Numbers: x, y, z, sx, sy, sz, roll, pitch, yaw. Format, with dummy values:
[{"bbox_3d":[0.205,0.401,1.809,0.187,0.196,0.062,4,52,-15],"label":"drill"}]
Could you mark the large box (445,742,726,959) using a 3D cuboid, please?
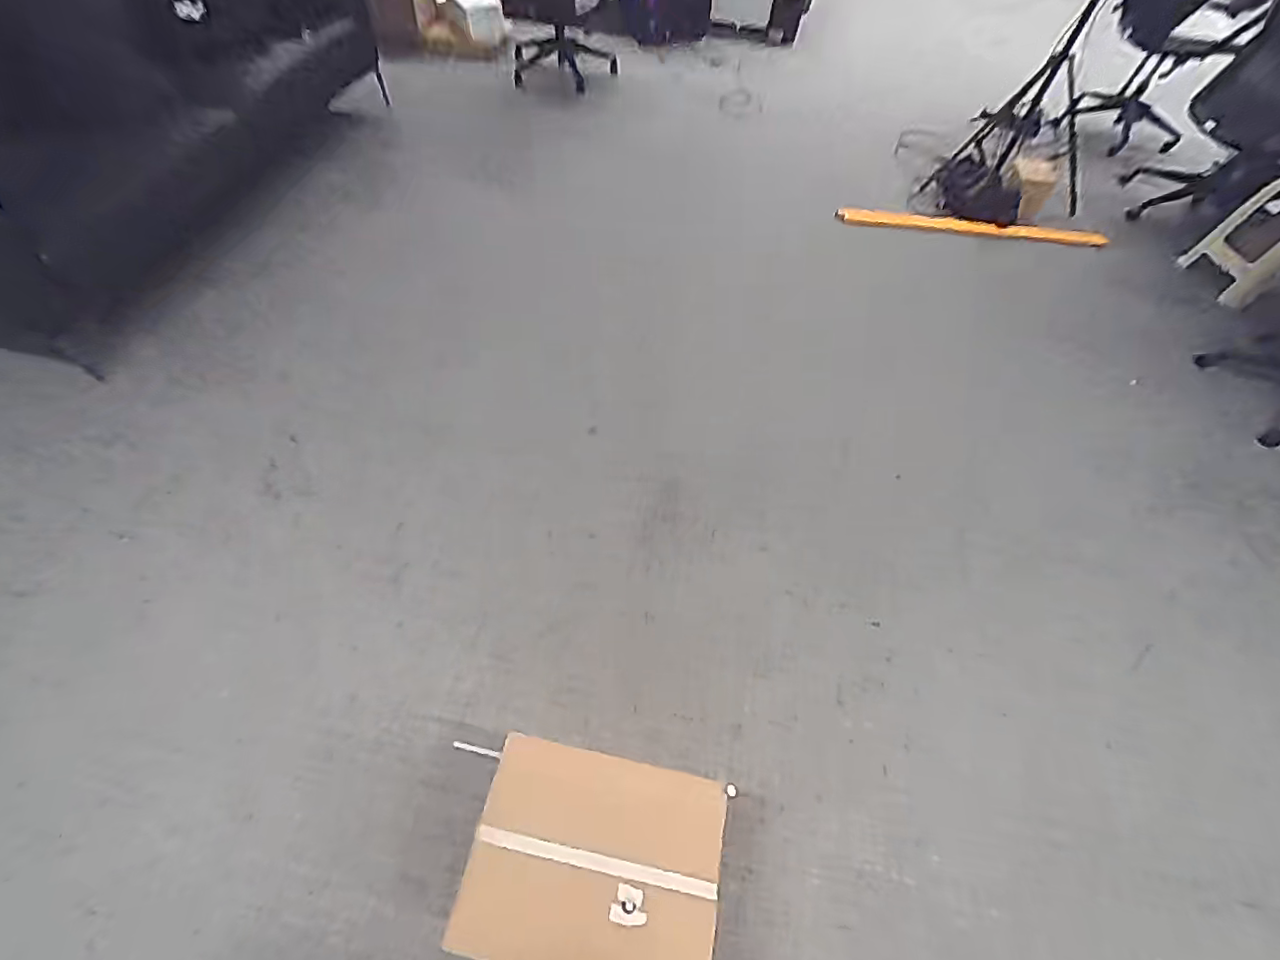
[{"bbox_3d":[-0.081,0.717,0.999,0.408,0.320,0.320,12,55,5],"label":"large box"}]
